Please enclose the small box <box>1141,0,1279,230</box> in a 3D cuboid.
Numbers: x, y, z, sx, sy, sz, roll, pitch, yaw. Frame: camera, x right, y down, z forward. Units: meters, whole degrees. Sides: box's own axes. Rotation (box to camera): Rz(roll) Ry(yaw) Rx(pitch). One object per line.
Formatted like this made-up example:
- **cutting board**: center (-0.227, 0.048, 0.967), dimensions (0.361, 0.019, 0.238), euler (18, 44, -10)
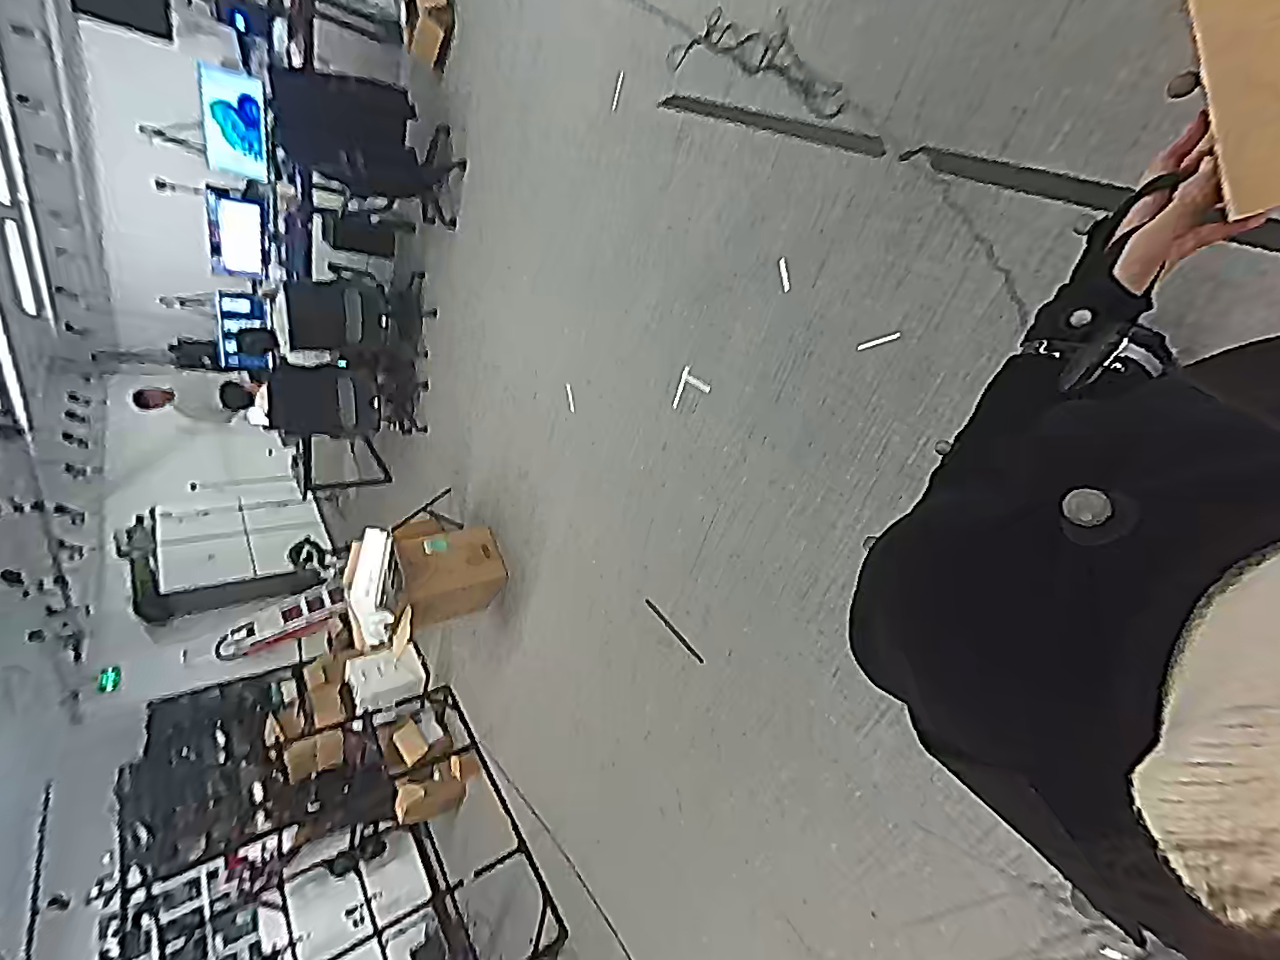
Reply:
- **small box**: center (0.393, -0.252, 0.279), dimensions (0.179, 0.176, 0.168), euler (-11, 100, 51)
